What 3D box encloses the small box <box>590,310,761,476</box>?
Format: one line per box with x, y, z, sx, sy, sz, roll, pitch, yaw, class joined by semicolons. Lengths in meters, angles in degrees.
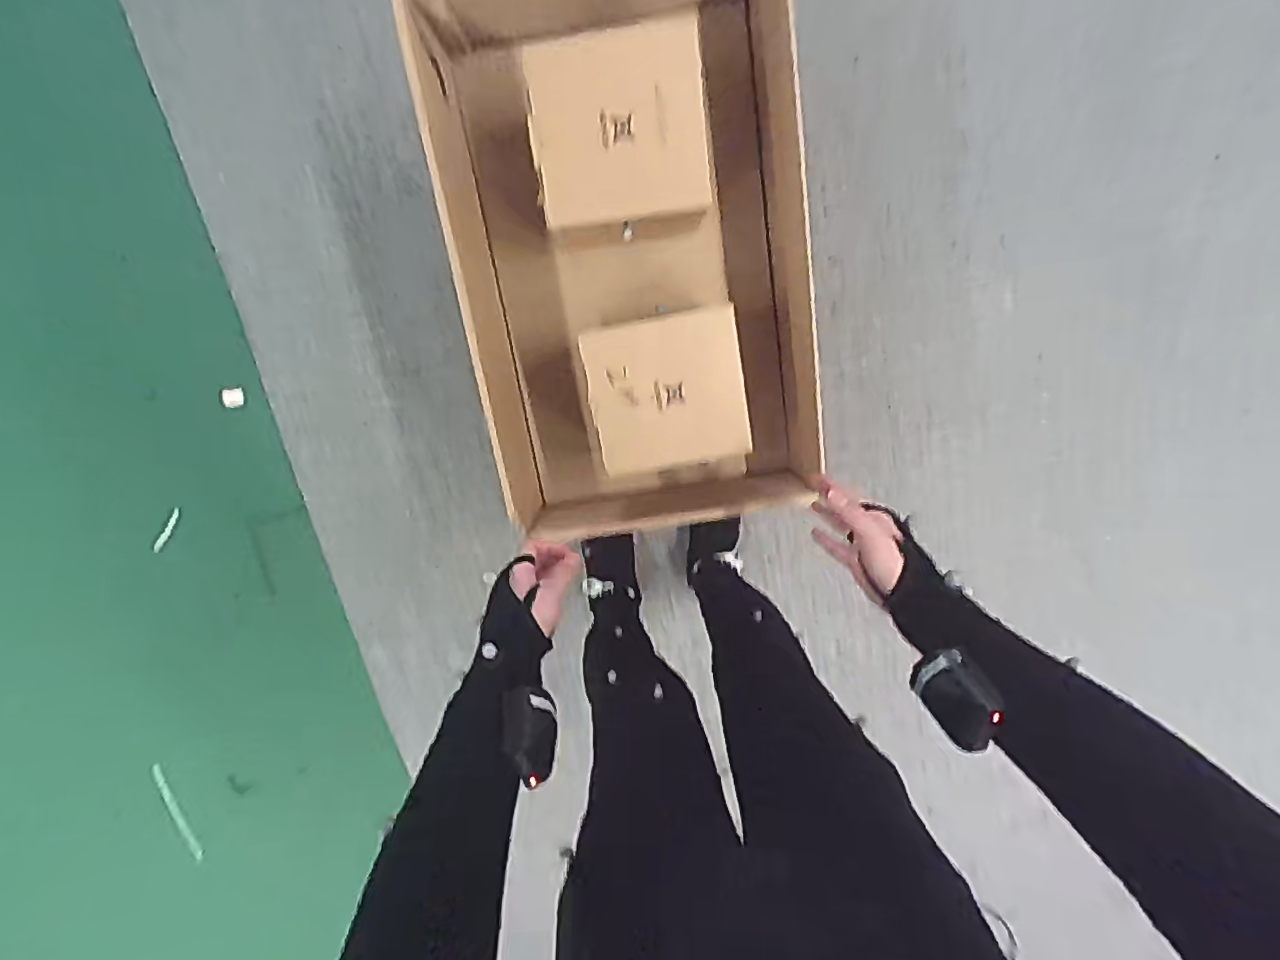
0.041;-0.114;0.681;0.179;0.176;0.168;-9;103;2;small box

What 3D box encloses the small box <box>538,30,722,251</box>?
-0.009;-0.370;0.622;0.179;0.176;0.168;-6;104;-1;small box
